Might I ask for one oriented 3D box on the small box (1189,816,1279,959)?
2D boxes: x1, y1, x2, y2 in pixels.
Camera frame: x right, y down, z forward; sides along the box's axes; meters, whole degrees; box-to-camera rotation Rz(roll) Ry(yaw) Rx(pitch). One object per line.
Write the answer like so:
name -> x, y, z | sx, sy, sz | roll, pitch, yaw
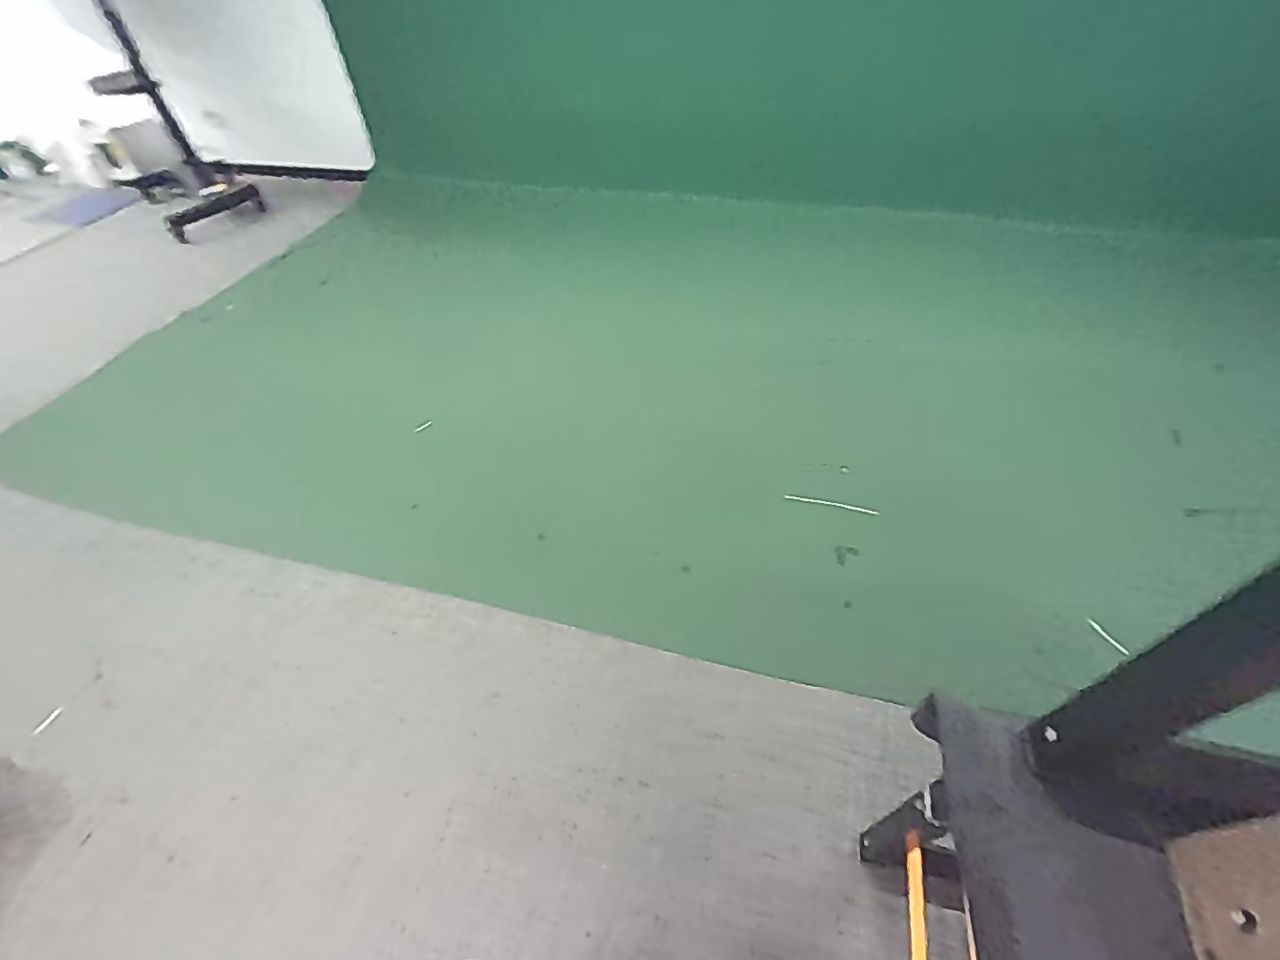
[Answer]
small box -> 0.639, 0.421, 0.466 | 0.179, 0.176, 0.168 | 12, 51, 13
